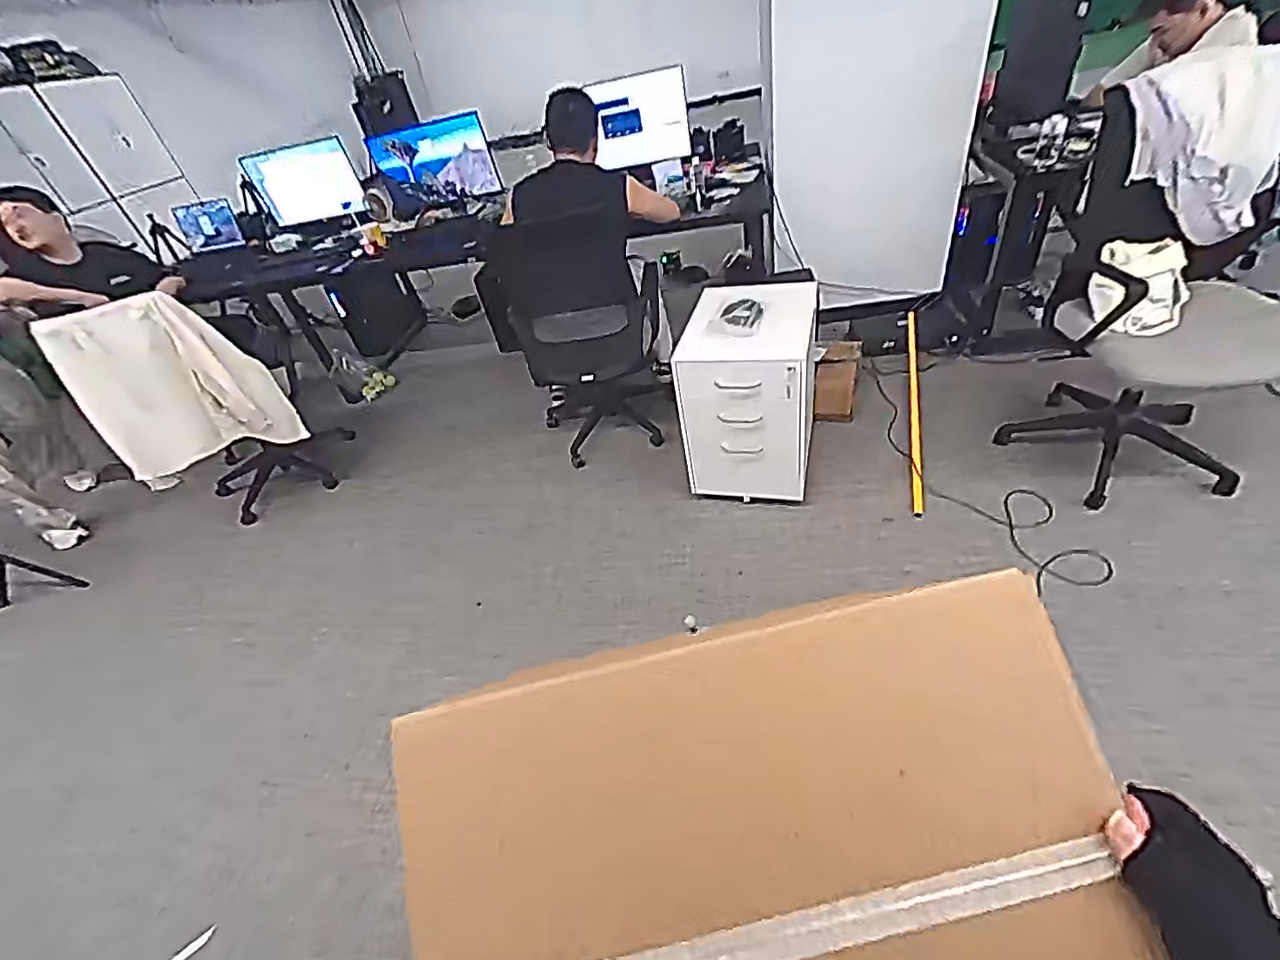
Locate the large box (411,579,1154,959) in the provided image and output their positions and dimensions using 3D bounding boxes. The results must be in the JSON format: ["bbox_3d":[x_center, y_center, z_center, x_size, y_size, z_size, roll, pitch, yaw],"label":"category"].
[{"bbox_3d":[0.087,0.289,0.457,0.408,0.320,0.320,-14,75,-1],"label":"large box"}]
